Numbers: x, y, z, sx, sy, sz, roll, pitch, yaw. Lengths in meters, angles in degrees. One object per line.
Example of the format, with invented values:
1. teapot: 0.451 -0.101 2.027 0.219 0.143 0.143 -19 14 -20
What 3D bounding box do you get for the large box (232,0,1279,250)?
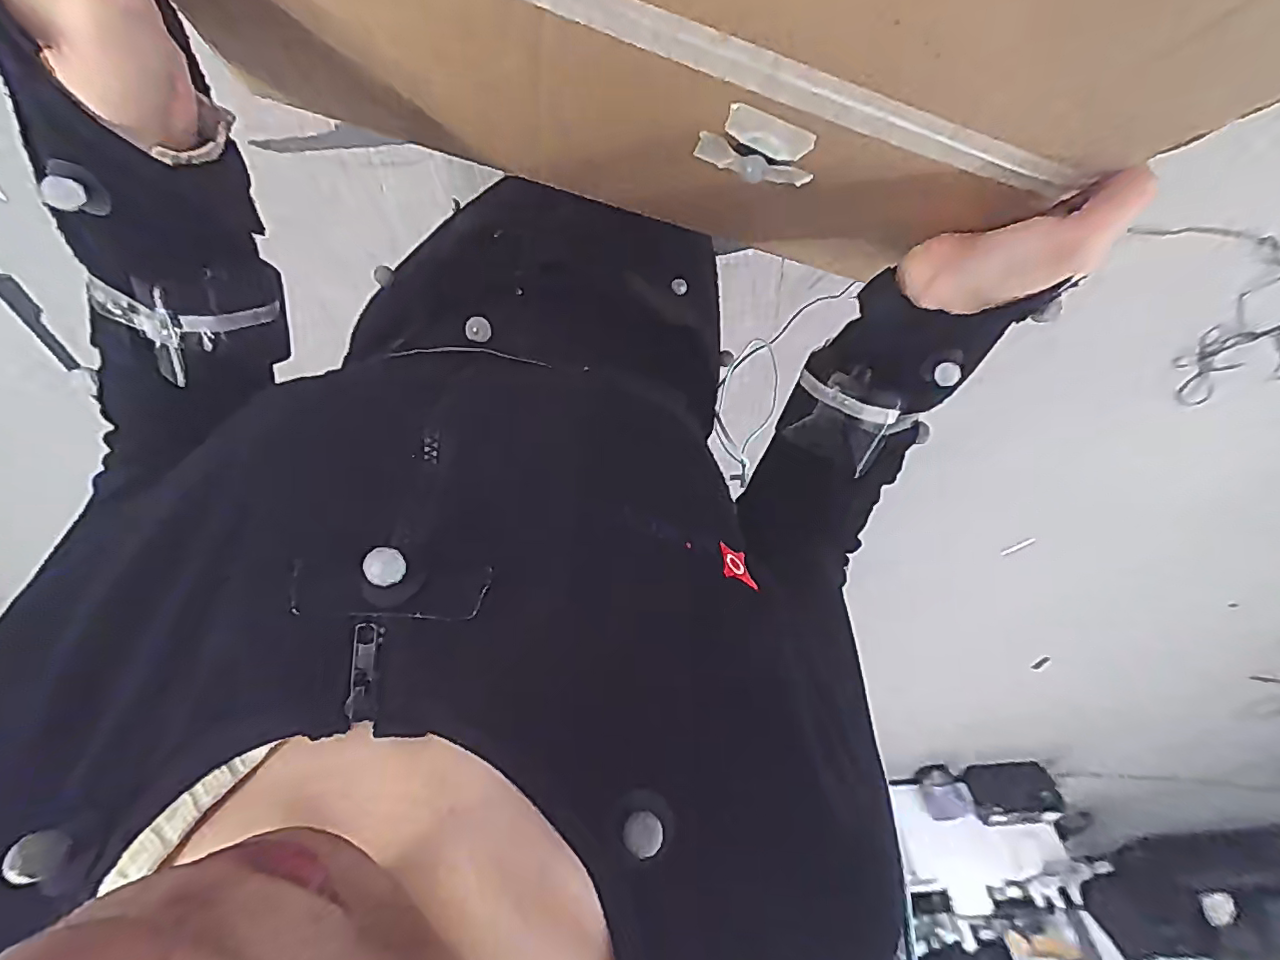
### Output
1. large box: 0.052 -0.325 0.166 0.408 0.320 0.320 11 93 -11
